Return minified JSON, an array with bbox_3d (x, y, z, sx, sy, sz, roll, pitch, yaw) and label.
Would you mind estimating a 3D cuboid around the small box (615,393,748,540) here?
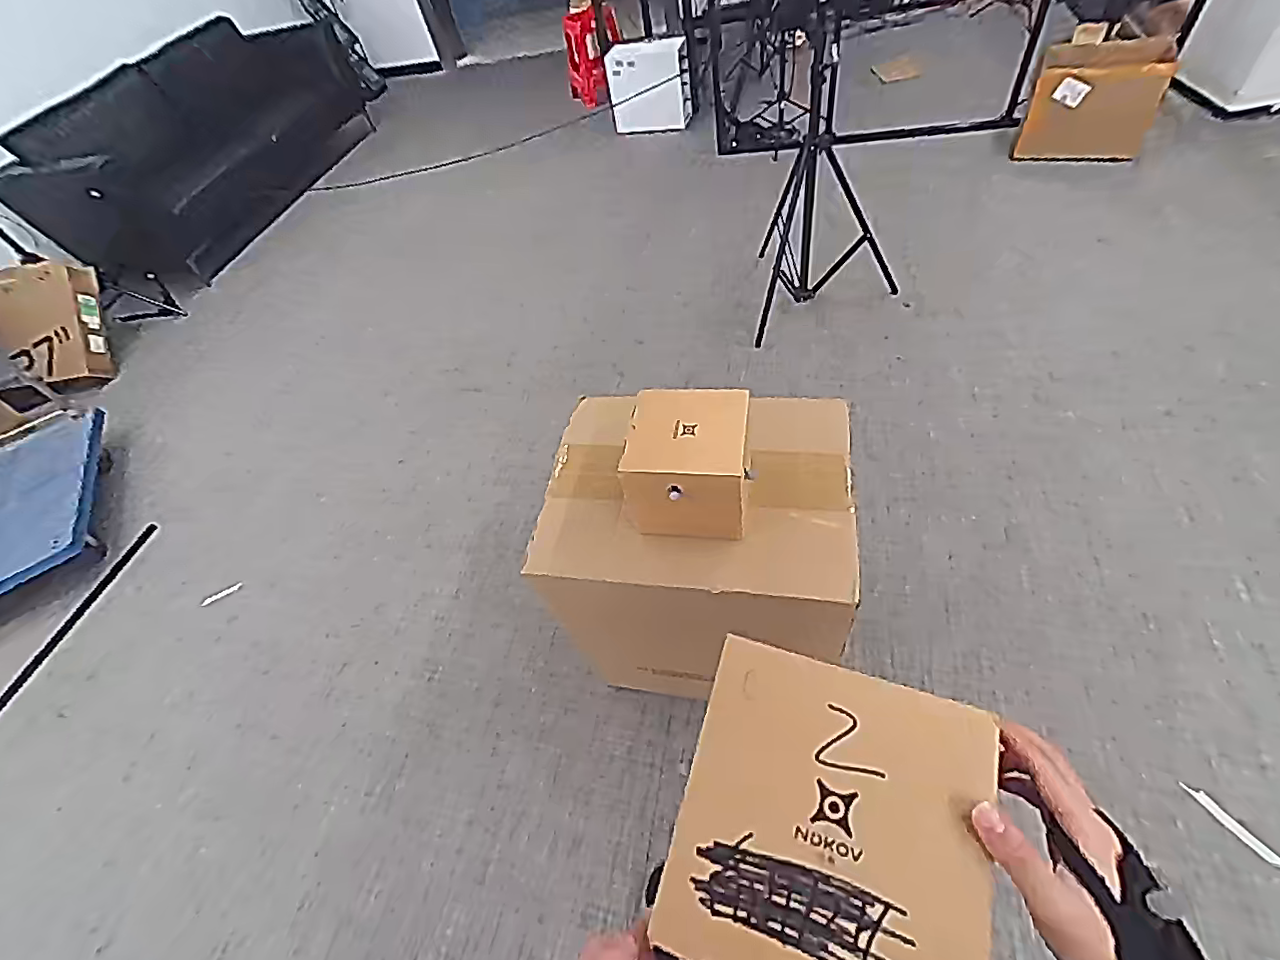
[{"bbox_3d":[0.076,-0.019,0.849,0.179,0.176,0.168,2,54,15],"label":"small box"}]
